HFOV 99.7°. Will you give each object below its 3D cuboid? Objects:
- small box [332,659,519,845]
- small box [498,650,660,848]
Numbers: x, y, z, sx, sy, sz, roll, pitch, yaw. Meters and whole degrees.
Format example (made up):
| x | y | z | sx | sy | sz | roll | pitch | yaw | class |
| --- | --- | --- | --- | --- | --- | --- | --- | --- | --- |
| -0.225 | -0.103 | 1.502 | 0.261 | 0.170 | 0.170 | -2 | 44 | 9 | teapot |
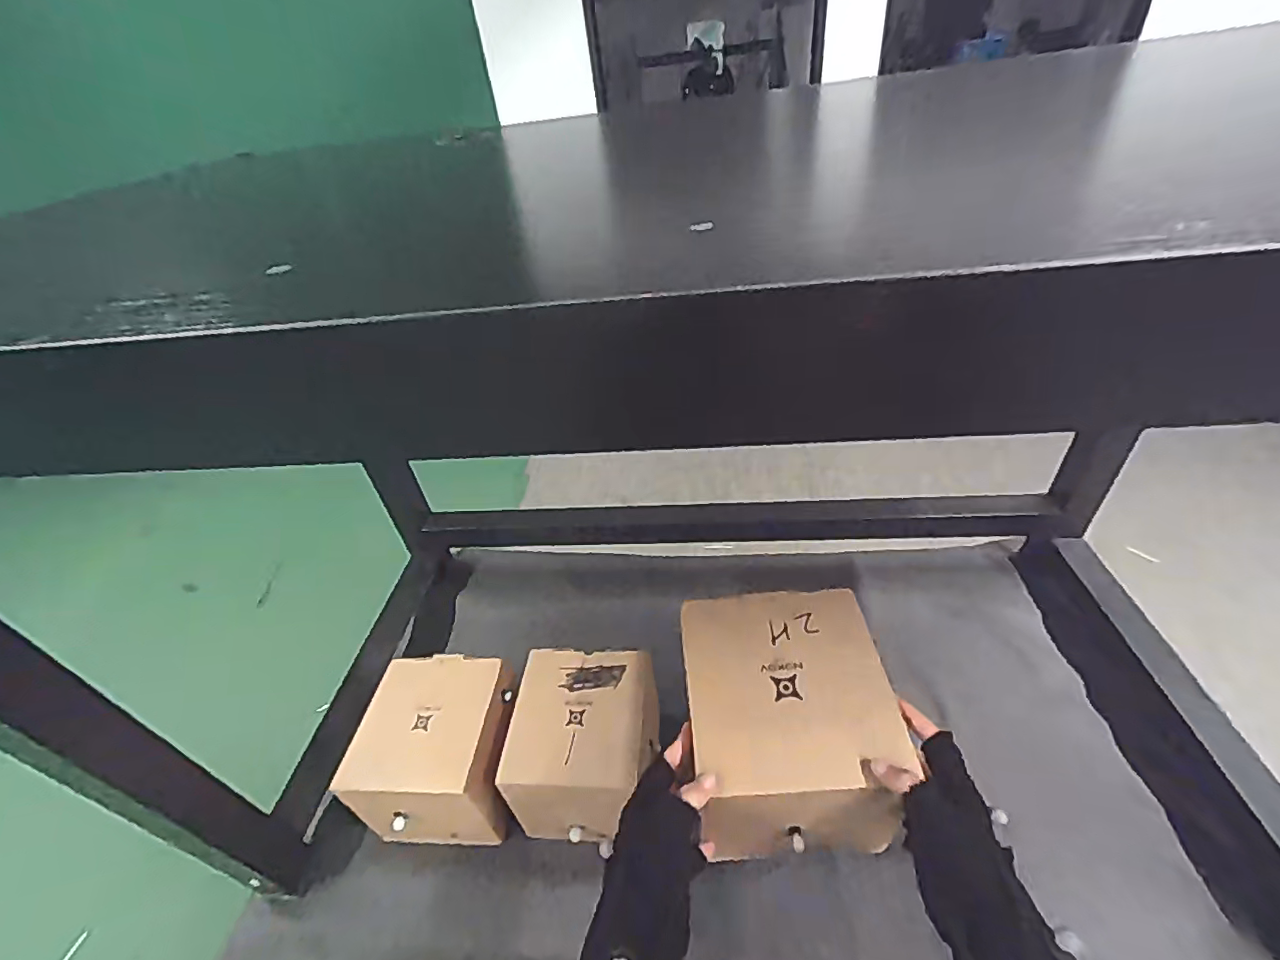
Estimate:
| x | y | z | sx | sy | sz | roll | pitch | yaw | class |
| --- | --- | --- | --- | --- | --- | --- | --- | --- | --- |
| -0.260 | 0.364 | 0.725 | 0.168 | 0.176 | 0.179 | -2 | 37 | 7 | small box |
| -0.065 | 0.347 | 0.709 | 0.168 | 0.176 | 0.179 | -2 | 39 | 8 | small box |
